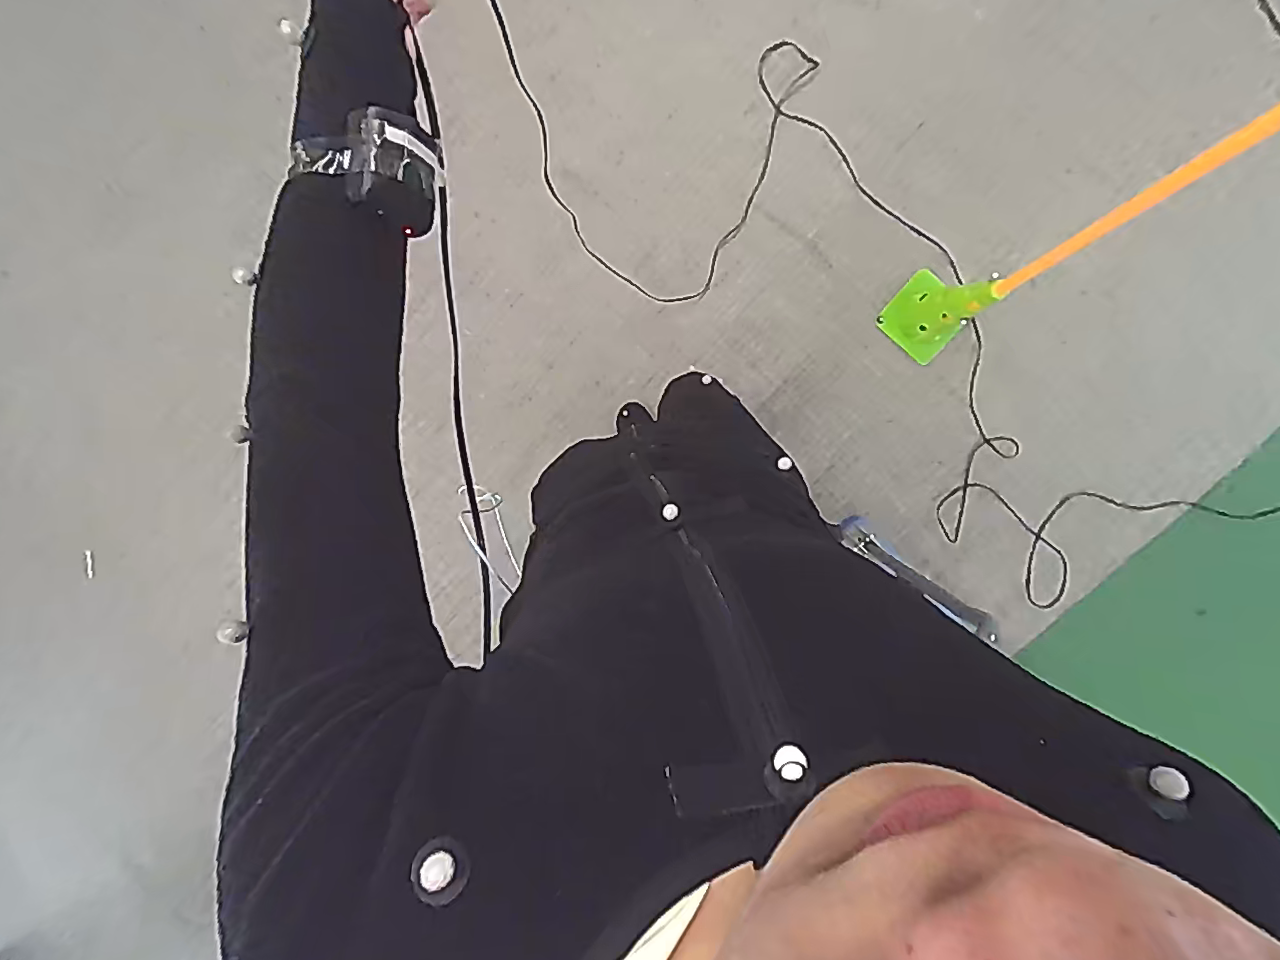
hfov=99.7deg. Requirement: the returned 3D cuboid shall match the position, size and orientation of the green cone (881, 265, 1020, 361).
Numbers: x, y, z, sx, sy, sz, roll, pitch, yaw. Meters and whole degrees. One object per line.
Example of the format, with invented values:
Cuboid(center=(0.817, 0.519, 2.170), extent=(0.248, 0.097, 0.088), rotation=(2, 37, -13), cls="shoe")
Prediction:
Cuboid(center=(0.796, -0.439, 1.330), extent=(0.200, 0.368, 0.202), rotation=(40, 97, -4), cls="green cone")
